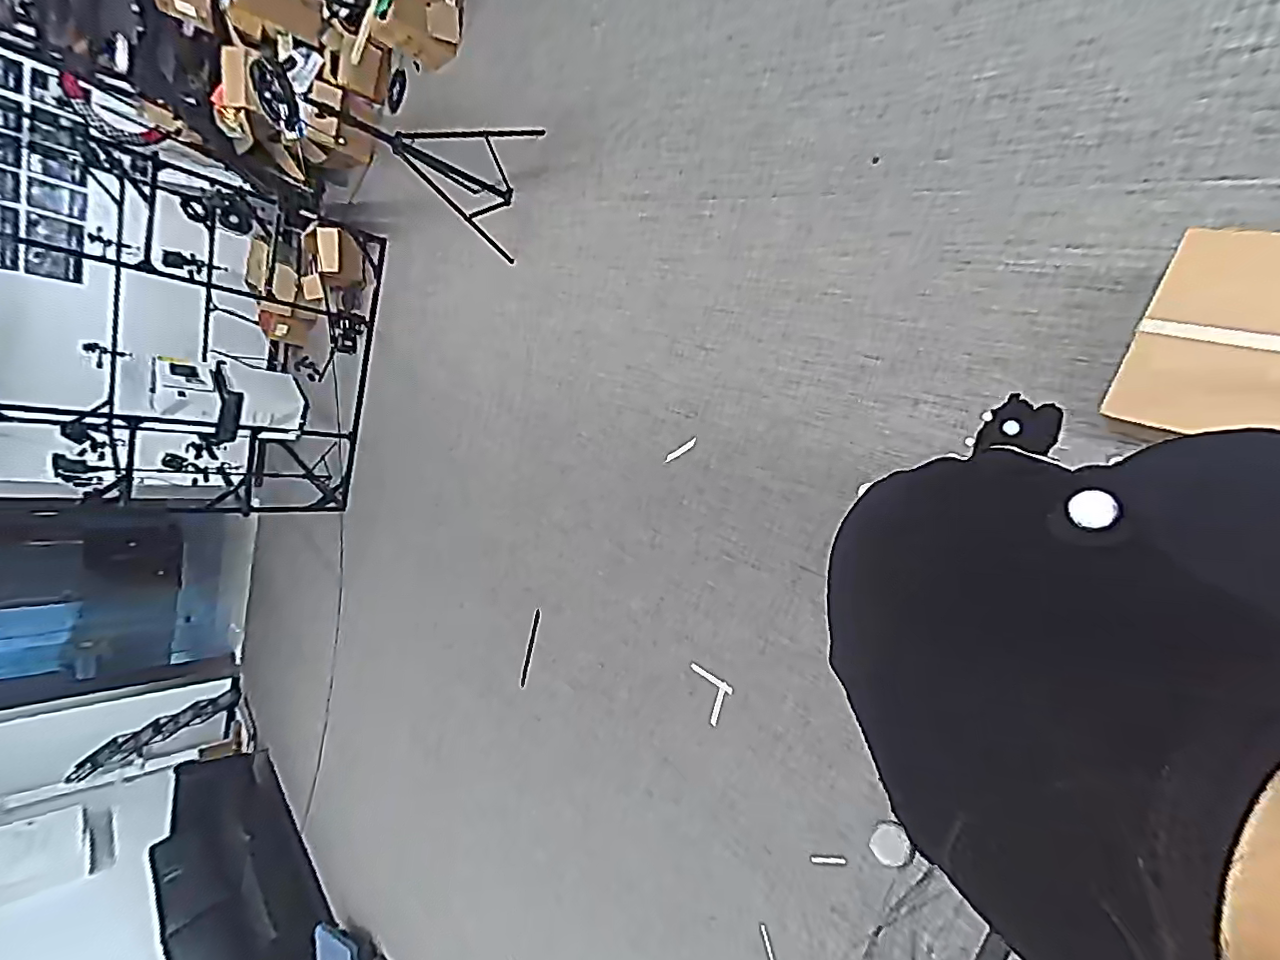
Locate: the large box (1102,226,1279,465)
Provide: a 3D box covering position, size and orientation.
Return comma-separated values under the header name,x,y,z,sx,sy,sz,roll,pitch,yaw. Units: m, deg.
name,x,y,z,sx,sy,sz,roll,pitch,yaw
large box,1.075,-0.196,0.893,0.408,0.320,0.320,28,107,39
